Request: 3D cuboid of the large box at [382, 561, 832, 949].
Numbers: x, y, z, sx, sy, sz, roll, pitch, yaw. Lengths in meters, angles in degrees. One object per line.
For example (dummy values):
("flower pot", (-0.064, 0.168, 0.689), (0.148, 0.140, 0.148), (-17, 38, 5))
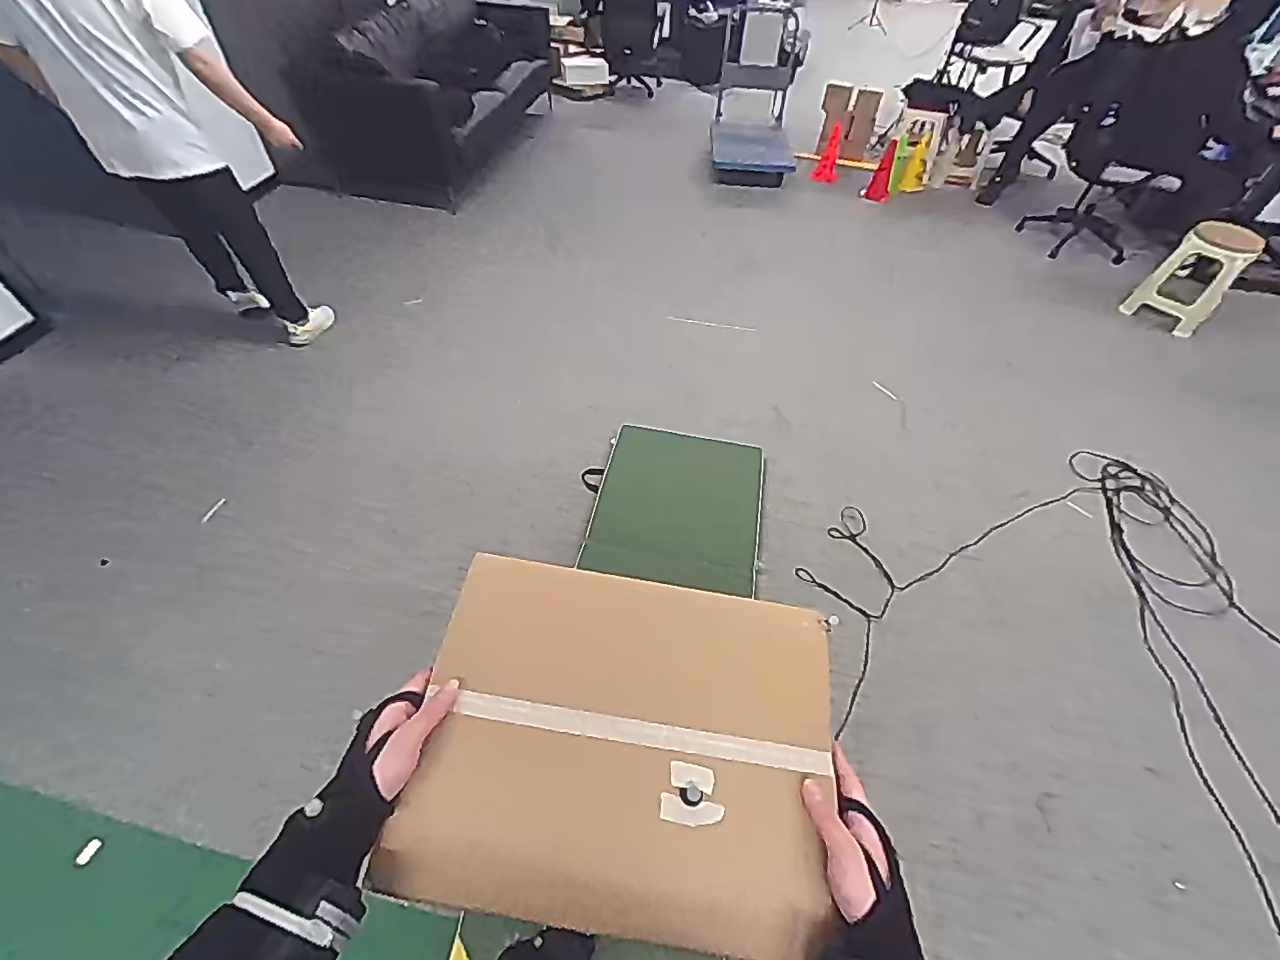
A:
("large box", (-0.025, 0.329, 0.670), (0.408, 0.320, 0.320), (10, 57, 0))
